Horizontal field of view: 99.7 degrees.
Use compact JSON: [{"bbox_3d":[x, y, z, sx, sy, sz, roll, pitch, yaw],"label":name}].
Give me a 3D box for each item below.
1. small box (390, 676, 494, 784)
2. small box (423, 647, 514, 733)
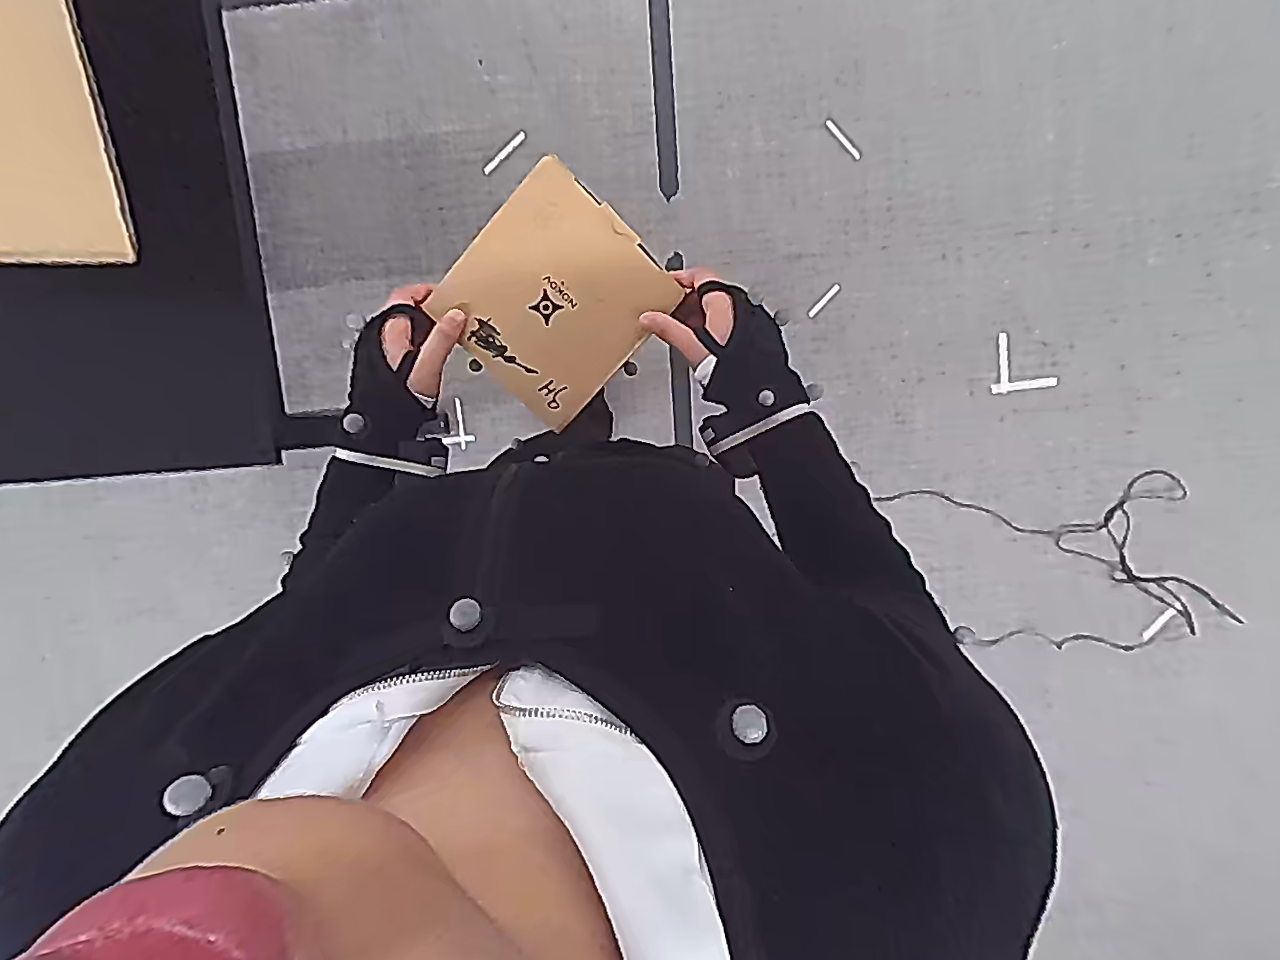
[{"bbox_3d":[-0.466,0.594,1.306,0.179,0.176,0.168,-11,96,3],"label":"small box"},{"bbox_3d":[-0.459,0.572,1.467,0.179,0.176,0.168,-8,97,1],"label":"small box"}]
